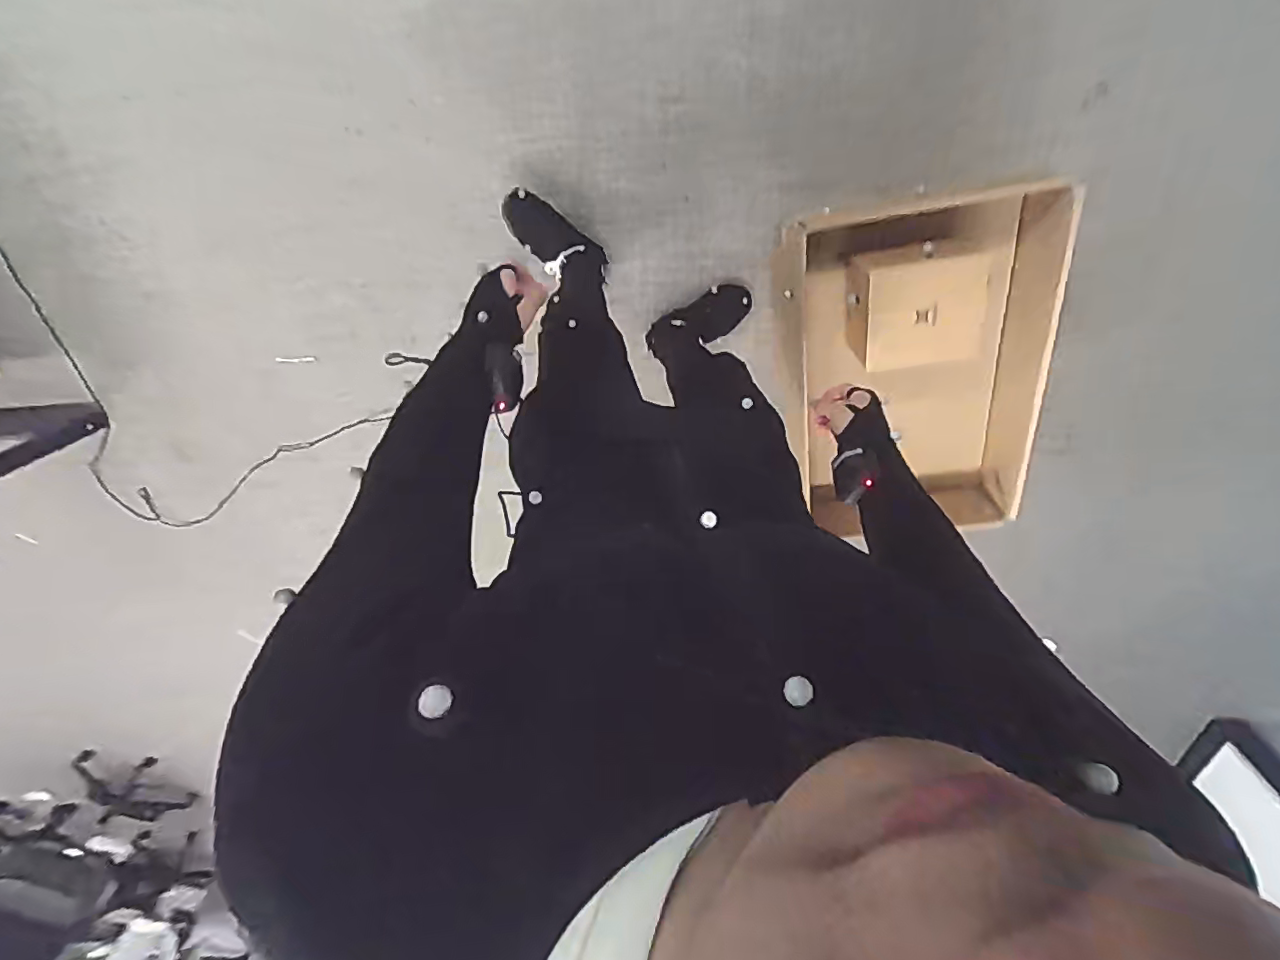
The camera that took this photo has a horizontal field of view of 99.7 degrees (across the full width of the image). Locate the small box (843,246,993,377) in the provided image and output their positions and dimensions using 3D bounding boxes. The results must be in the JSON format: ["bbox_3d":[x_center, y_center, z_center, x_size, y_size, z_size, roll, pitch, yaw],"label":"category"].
[{"bbox_3d":[0.448,-0.285,0.908,0.179,0.176,0.168,-6,120,8],"label":"small box"}]
